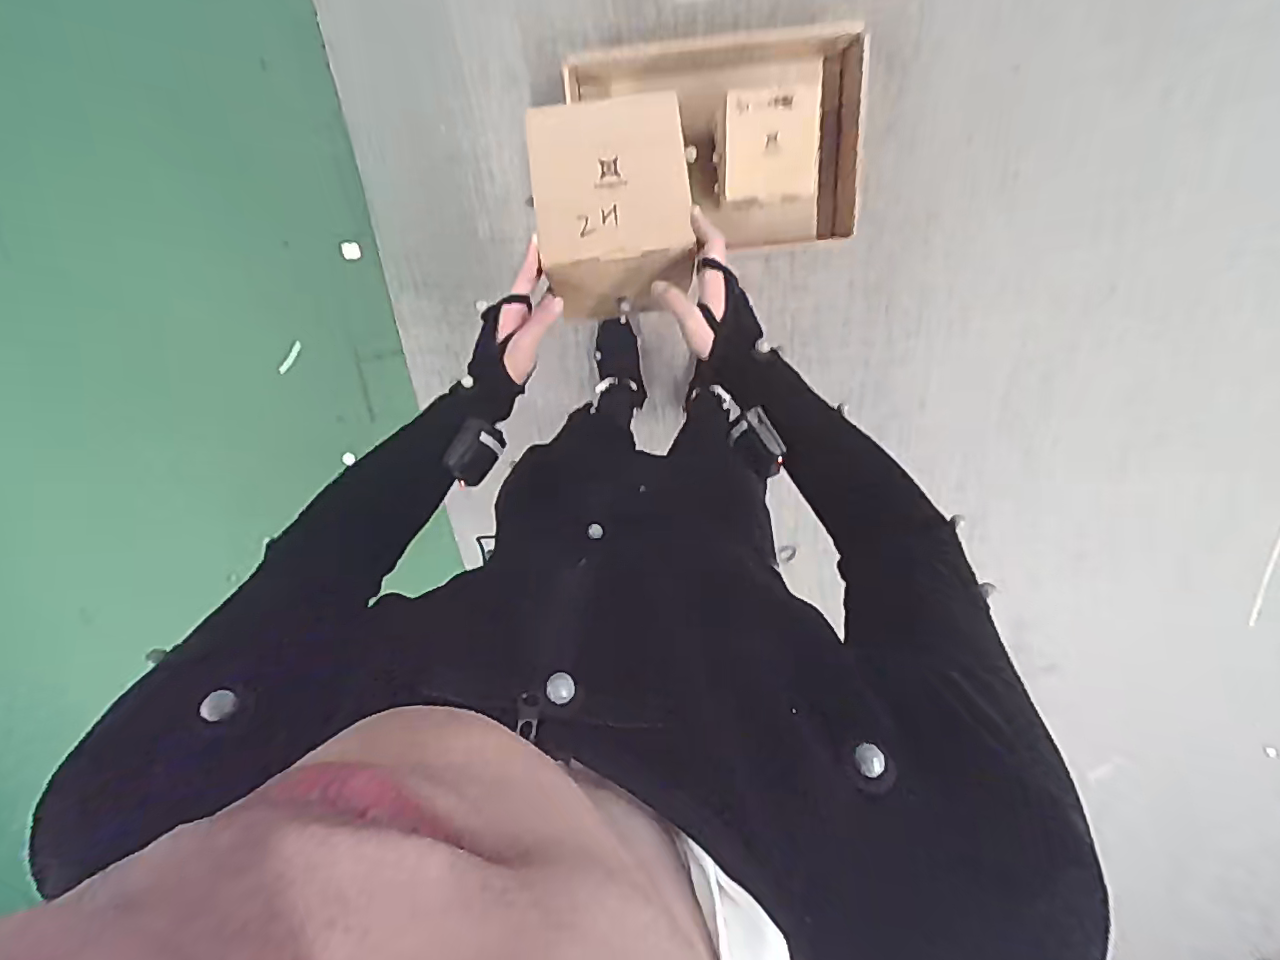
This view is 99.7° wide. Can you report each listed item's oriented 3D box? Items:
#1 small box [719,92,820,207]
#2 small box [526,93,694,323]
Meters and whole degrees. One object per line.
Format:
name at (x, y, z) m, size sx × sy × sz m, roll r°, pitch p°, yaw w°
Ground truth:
small box at (0.244, -0.635, 1.060) m, size 0.168 × 0.176 × 0.179 m, roll 0°, pitch 114°, yaw 5°
small box at (-0.032, -0.308, 0.642) m, size 0.168 × 0.176 × 0.179 m, roll -7°, pitch 85°, yaw 1°
